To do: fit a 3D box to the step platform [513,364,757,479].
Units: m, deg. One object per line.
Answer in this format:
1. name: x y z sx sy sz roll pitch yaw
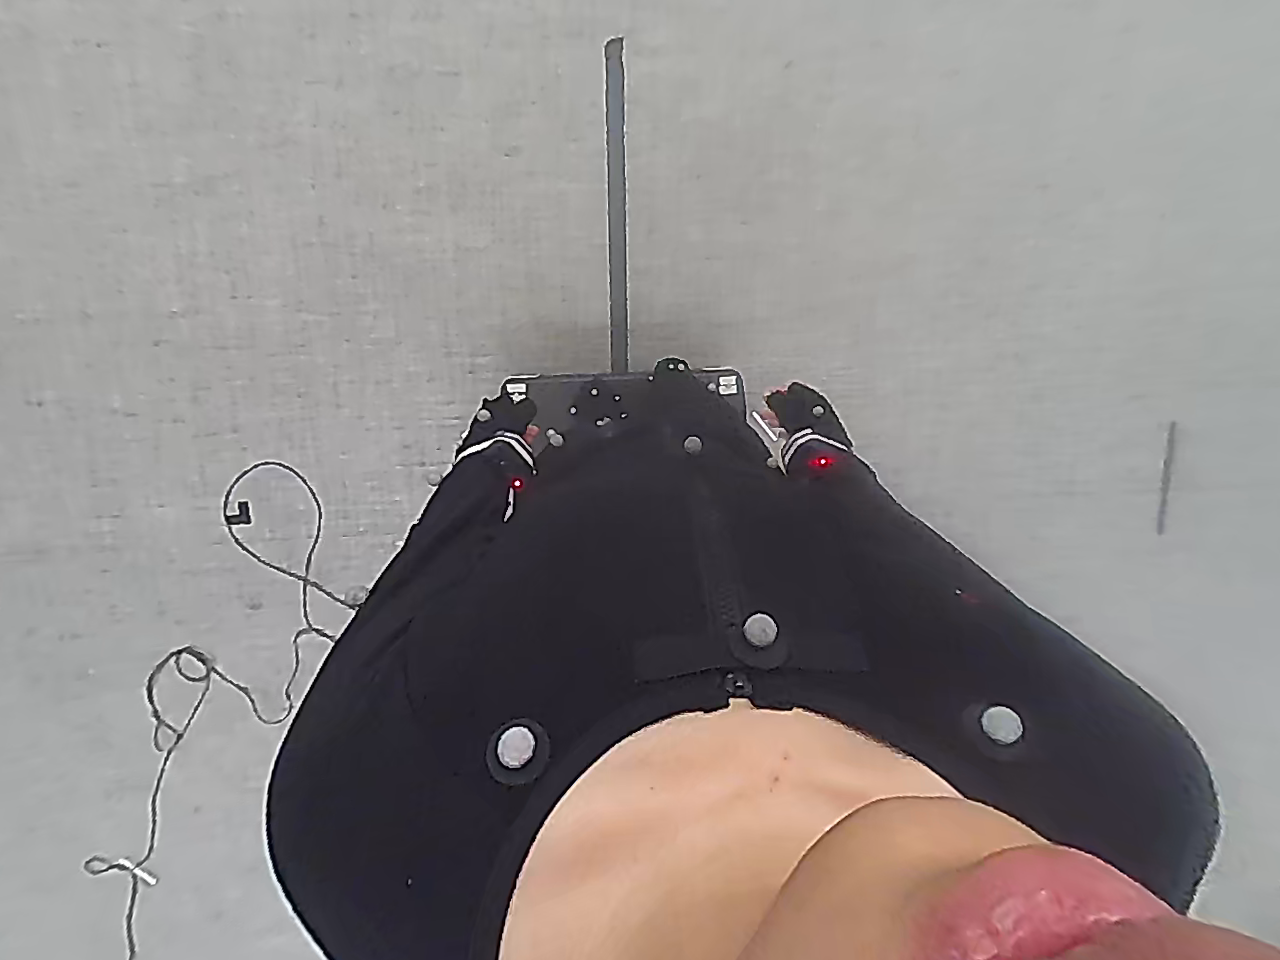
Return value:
1. step platform: -0.013 -0.172 1.543 0.684 0.204 0.286 -4 101 -5
